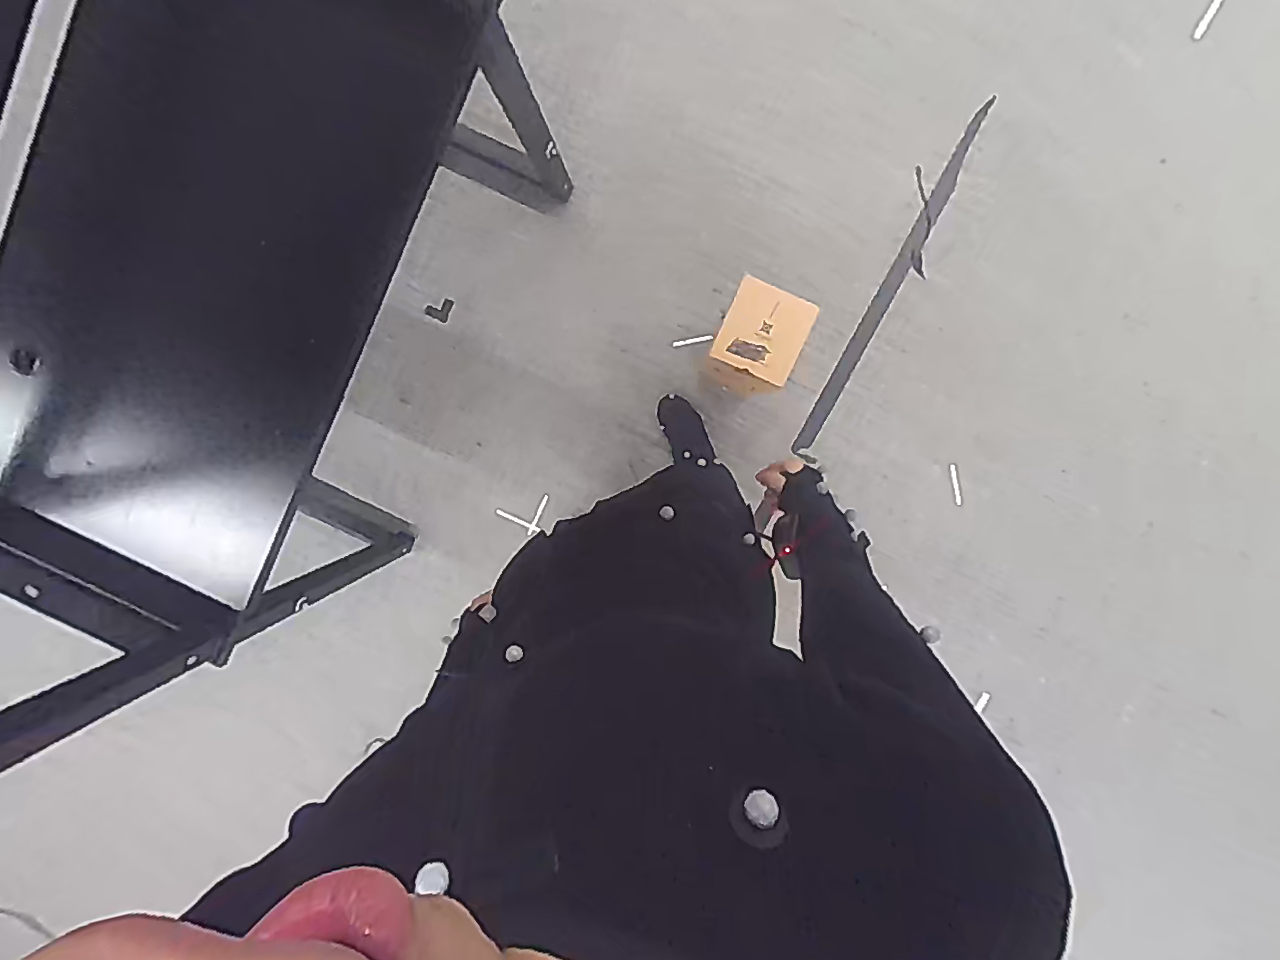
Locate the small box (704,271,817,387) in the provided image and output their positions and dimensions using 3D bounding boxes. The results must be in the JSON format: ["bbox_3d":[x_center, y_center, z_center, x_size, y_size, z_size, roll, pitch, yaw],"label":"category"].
[{"bbox_3d":[0.244,-0.308,1.147,0.168,0.176,0.179,24,97,-1],"label":"small box"}]

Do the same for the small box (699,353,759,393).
[{"bbox_3d":[0.269,-0.350,1.472,0.168,0.176,0.179,26,98,-1],"label":"small box"}]
